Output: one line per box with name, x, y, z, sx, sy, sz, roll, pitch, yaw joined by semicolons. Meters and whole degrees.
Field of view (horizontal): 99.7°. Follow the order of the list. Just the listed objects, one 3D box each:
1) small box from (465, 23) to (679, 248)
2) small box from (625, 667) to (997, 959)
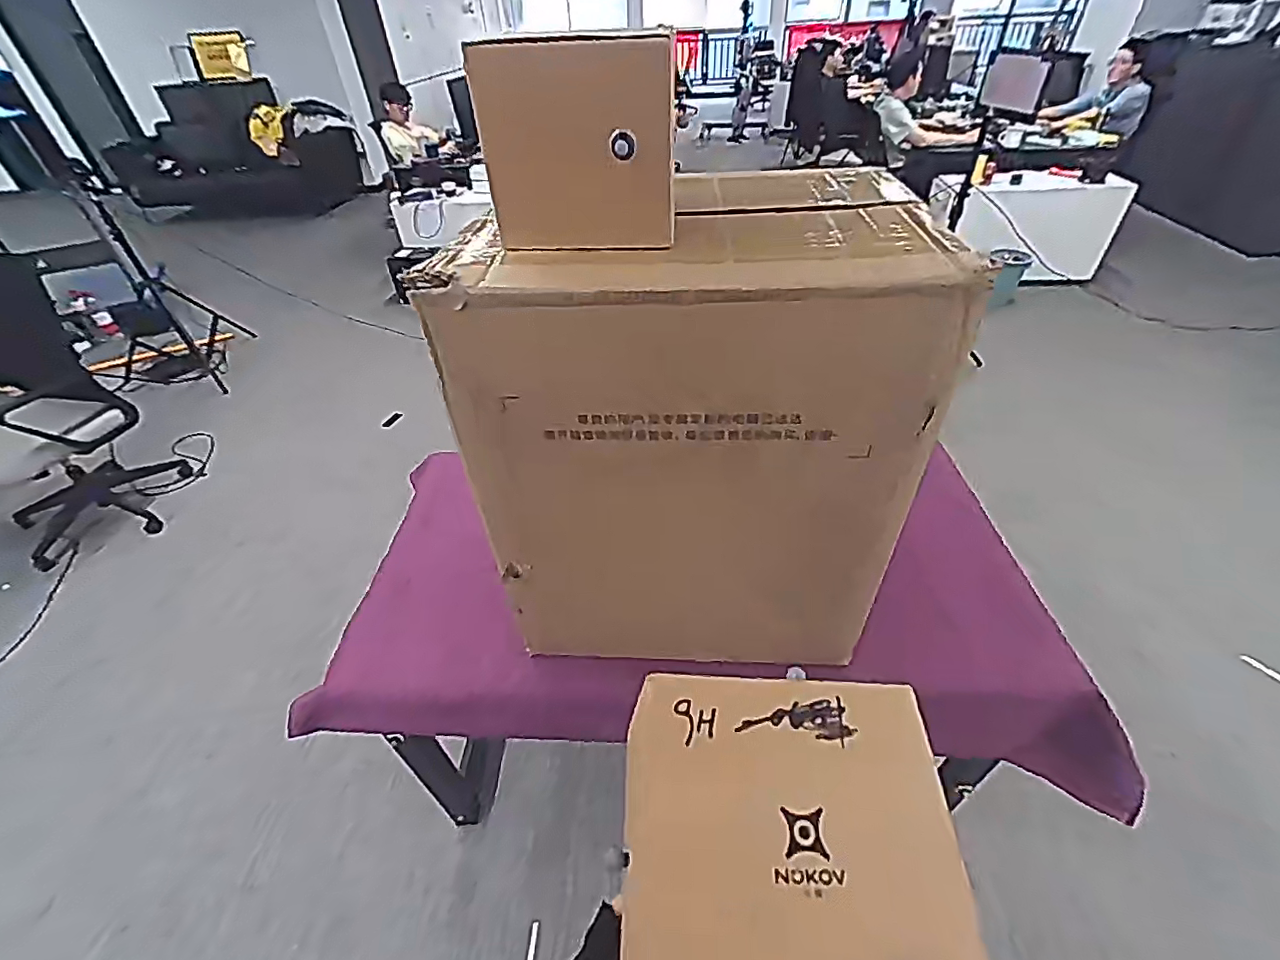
small box;-0.049;-0.347;0.548;0.179;0.176;0.168;0;41;4
small box;0.079;0.231;0.335;0.168;0.176;0.179;4;54;-3
